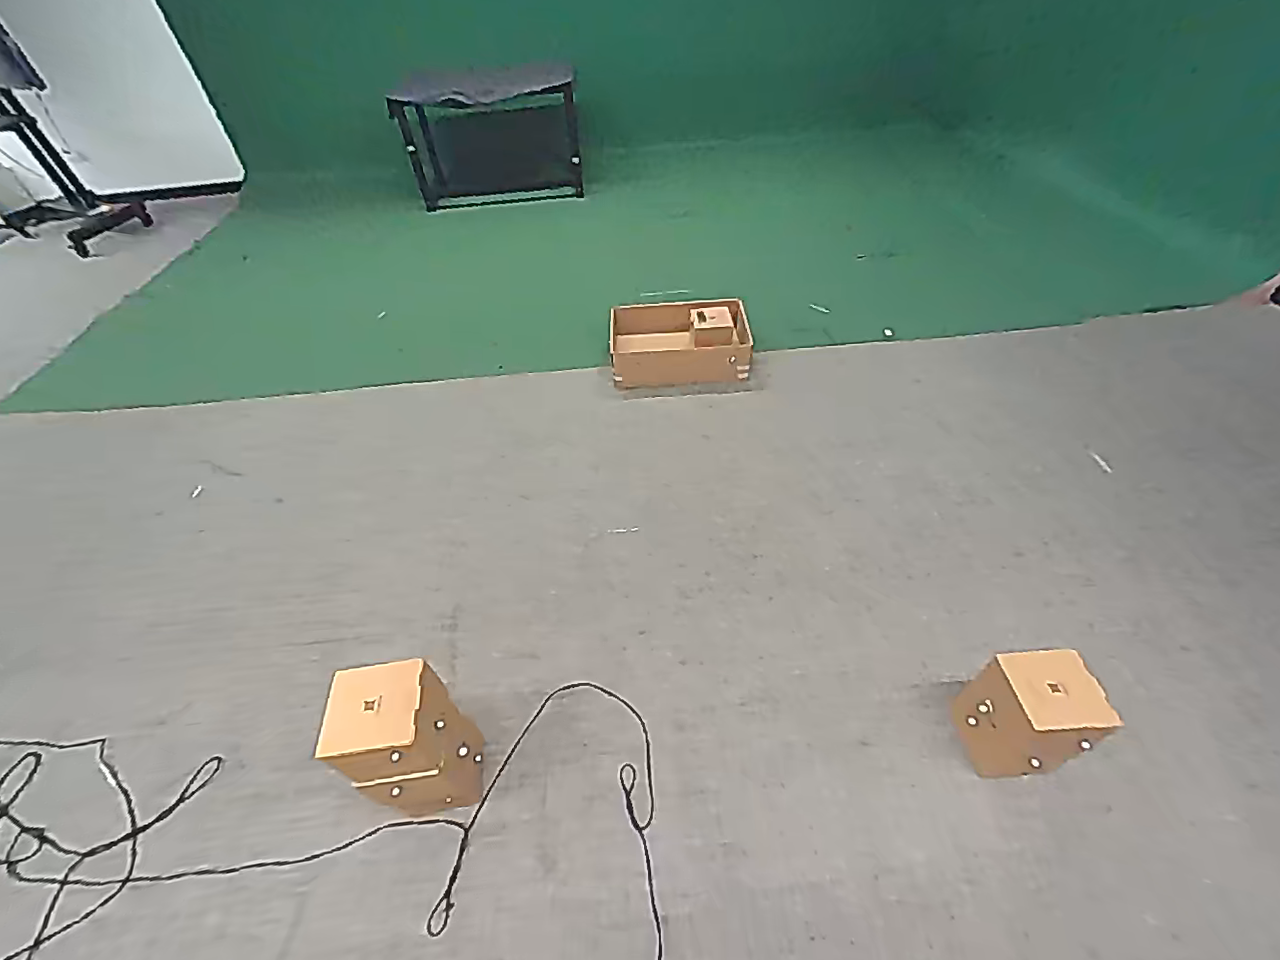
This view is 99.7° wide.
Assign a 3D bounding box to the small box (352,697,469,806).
[{"bbox_3d":[-0.494,0.601,1.194,0.179,0.176,0.168,-7,47,-3],"label":"small box"}]

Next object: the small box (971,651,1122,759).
[{"bbox_3d":[0.869,0.492,1.179,0.179,0.176,0.168,-5,45,2],"label":"small box"}]

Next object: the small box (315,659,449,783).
[{"bbox_3d":[-0.501,0.485,1.080,0.179,0.176,0.168,-8,46,-4],"label":"small box"}]

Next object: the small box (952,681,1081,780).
[{"bbox_3d":[0.889,0.599,1.301,0.168,0.176,0.179,-5,46,1],"label":"small box"}]

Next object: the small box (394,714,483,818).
[{"bbox_3d":[-0.489,0.701,1.324,0.179,0.176,0.168,-11,46,-5],"label":"small box"}]
